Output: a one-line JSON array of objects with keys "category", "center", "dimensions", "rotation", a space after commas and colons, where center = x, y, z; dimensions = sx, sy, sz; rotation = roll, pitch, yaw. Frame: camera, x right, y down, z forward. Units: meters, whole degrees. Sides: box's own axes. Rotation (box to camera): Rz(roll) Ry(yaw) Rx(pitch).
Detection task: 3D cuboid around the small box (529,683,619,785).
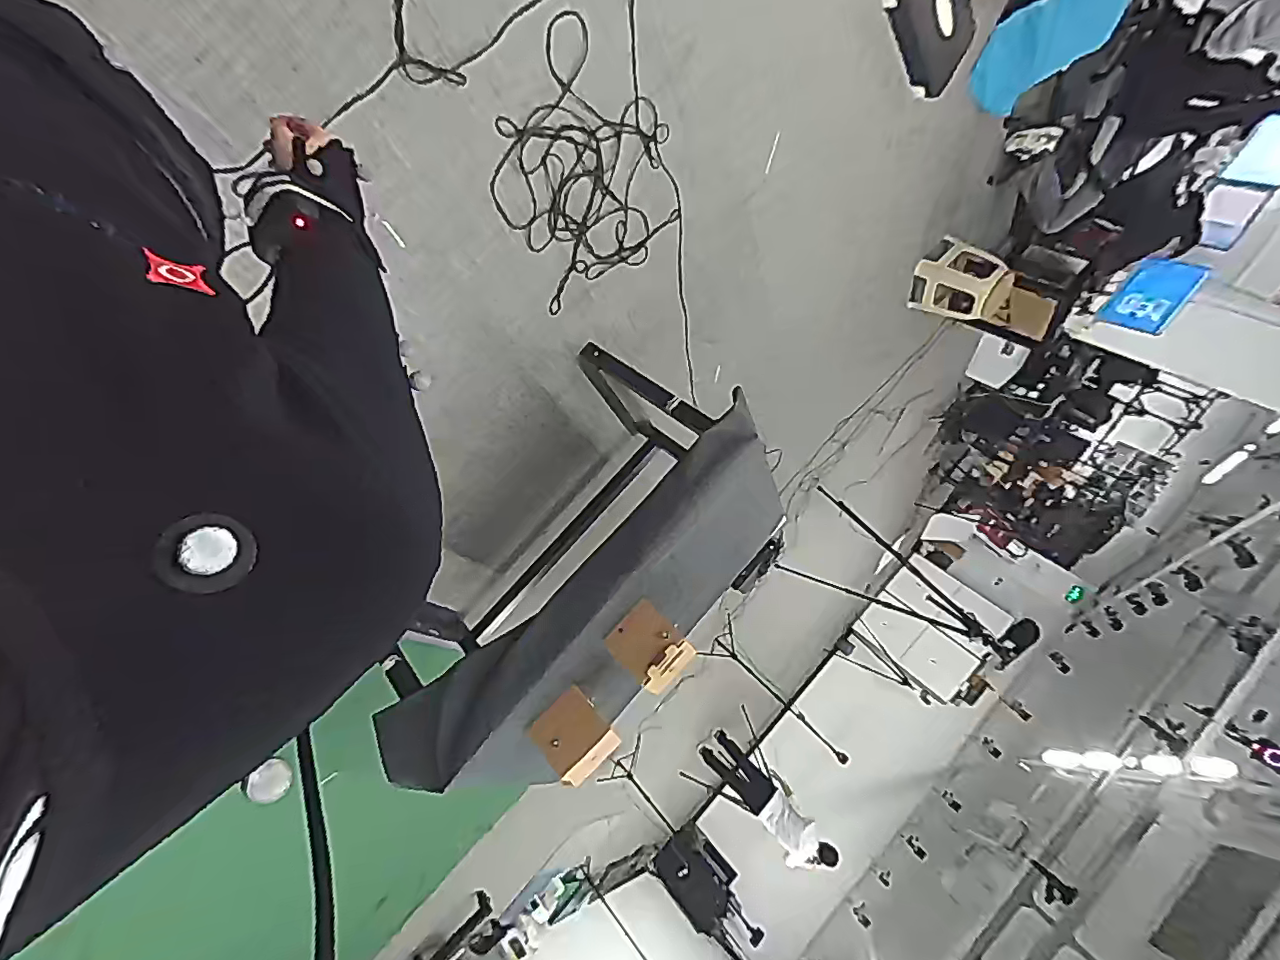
[{"category": "small box", "center": [-0.187, 0.704, 1.502], "dimensions": [0.179, 0.176, 0.168], "rotation": [-41, 148, -18]}]
